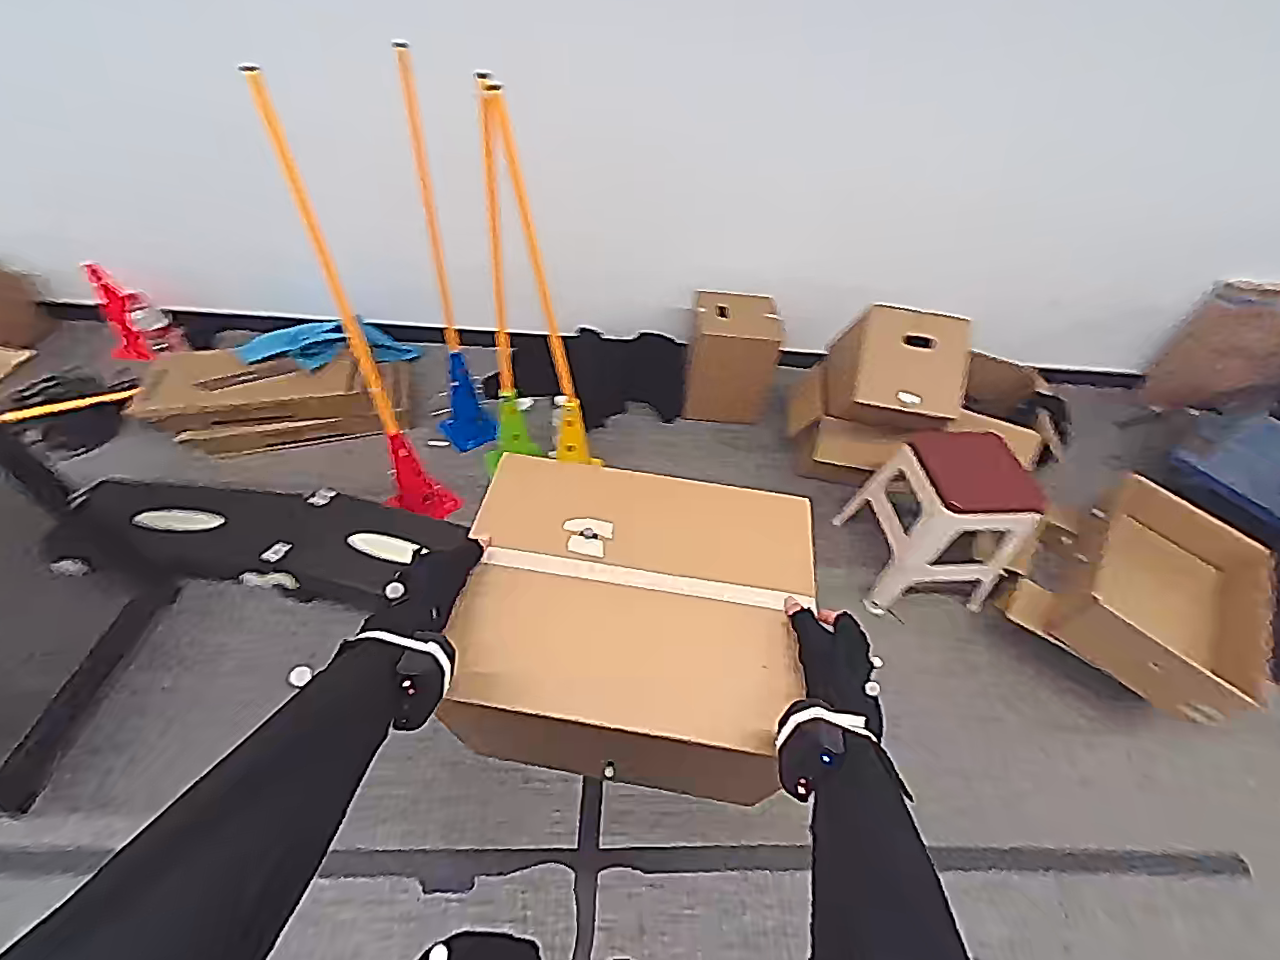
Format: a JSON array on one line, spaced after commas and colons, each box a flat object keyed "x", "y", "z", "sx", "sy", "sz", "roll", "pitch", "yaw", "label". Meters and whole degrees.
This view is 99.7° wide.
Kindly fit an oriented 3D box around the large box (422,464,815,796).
[{"x": -0.008, "y": 0.214, "z": 0.741, "sx": 0.408, "sy": 0.320, "sz": 0.320, "roll": 9, "pitch": 52, "yaw": 4, "label": "large box"}]
